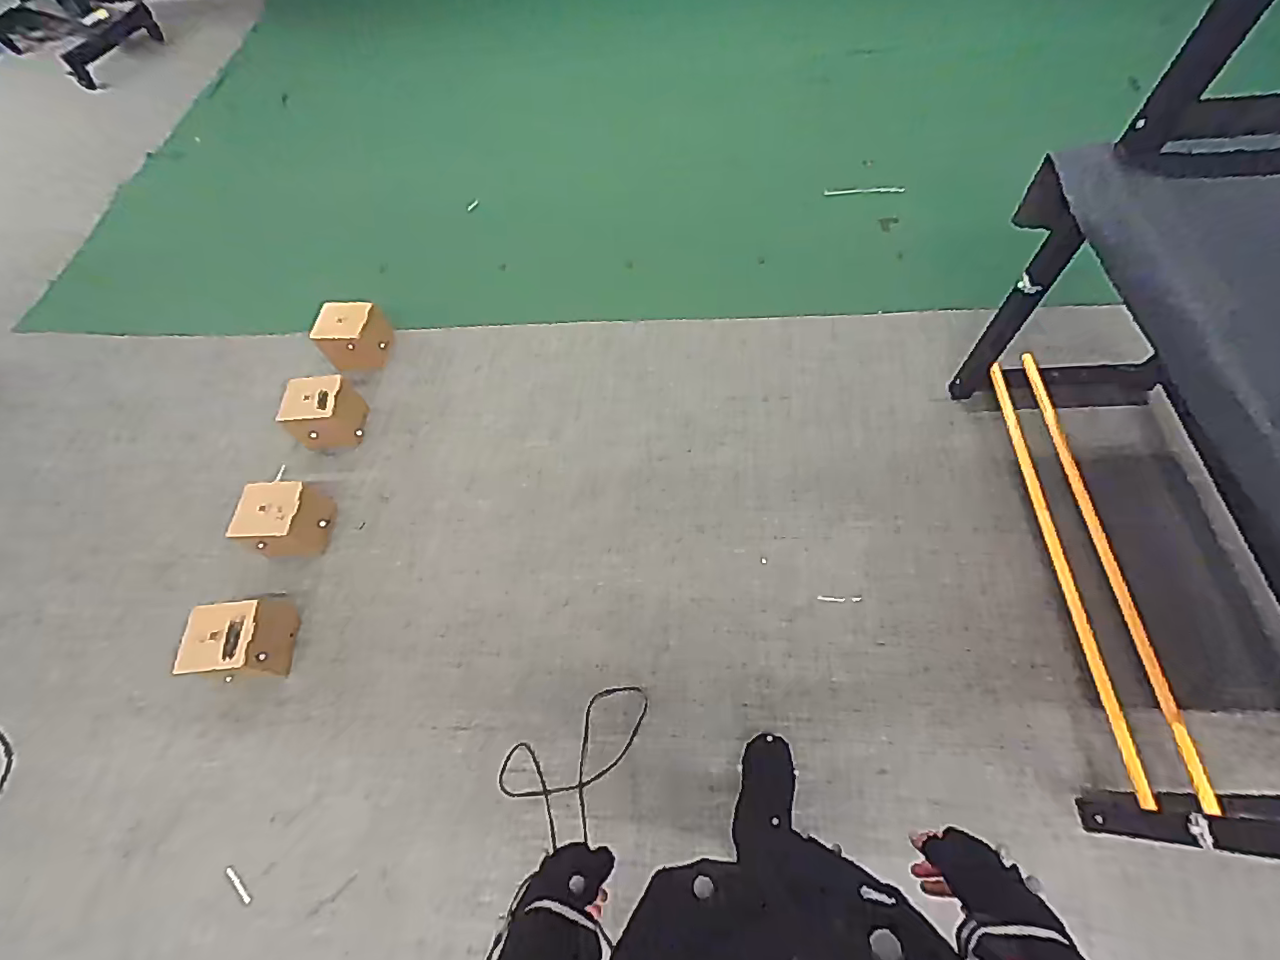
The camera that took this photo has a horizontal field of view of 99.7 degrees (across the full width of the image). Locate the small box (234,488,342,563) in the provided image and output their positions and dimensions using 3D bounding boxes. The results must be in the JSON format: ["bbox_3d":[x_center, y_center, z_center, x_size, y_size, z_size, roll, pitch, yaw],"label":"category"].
[{"bbox_3d":[-1.006,0.136,1.561,0.179,0.176,0.168,-1,62,3],"label":"small box"}]

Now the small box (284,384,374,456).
[{"bbox_3d":[-0.993,-0.190,1.747,0.179,0.176,0.168,-4,60,3],"label":"small box"}]

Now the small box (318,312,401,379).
[{"bbox_3d":[-0.981,-0.471,1.906,0.179,0.176,0.168,1,61,5],"label":"small box"}]
